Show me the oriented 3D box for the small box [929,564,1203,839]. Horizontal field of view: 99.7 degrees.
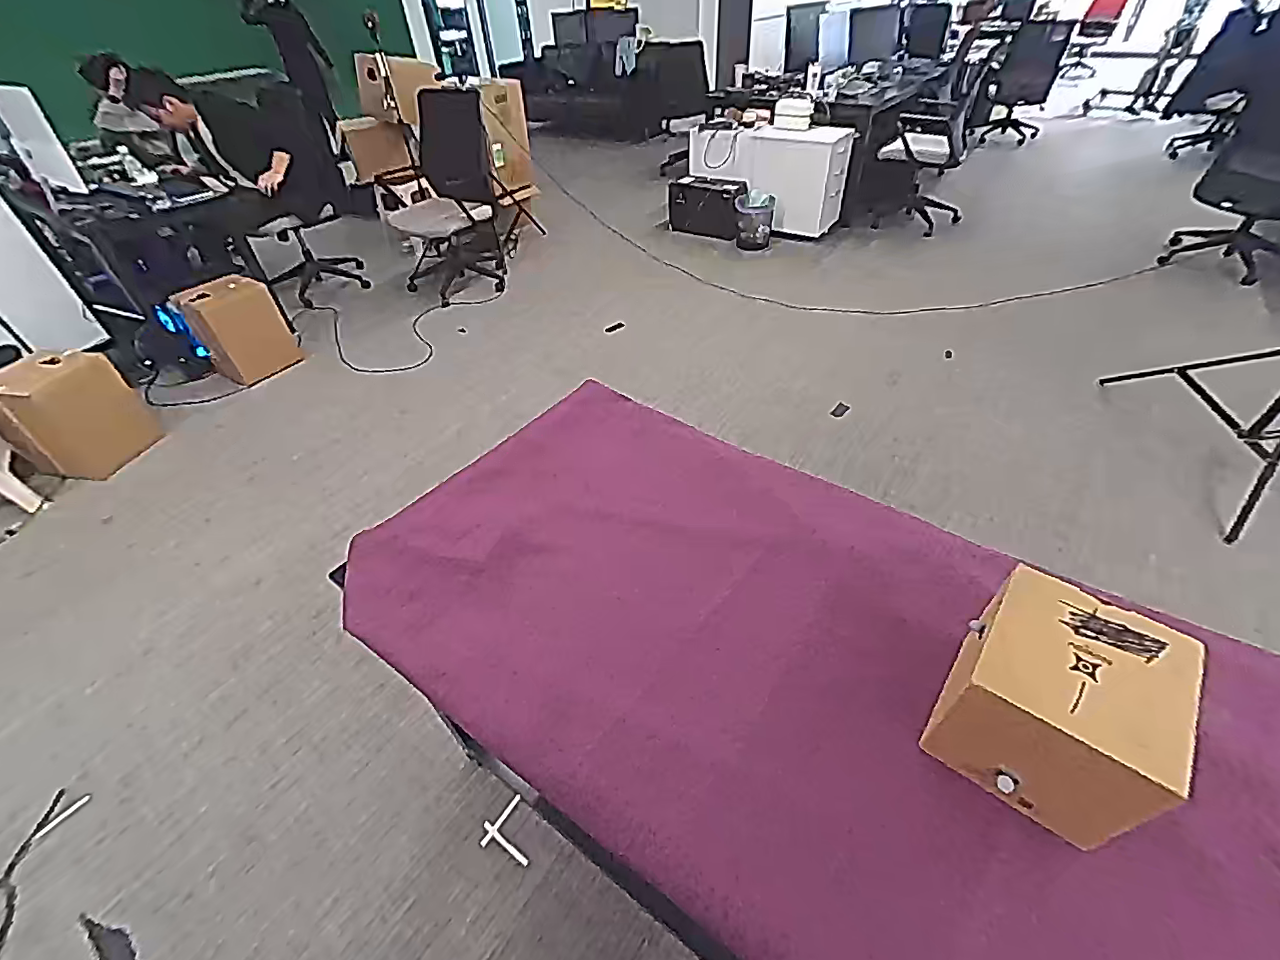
[{"bbox_3d":[0.436,0.231,0.575,0.168,0.176,0.179,28,52,30],"label":"small box"}]
